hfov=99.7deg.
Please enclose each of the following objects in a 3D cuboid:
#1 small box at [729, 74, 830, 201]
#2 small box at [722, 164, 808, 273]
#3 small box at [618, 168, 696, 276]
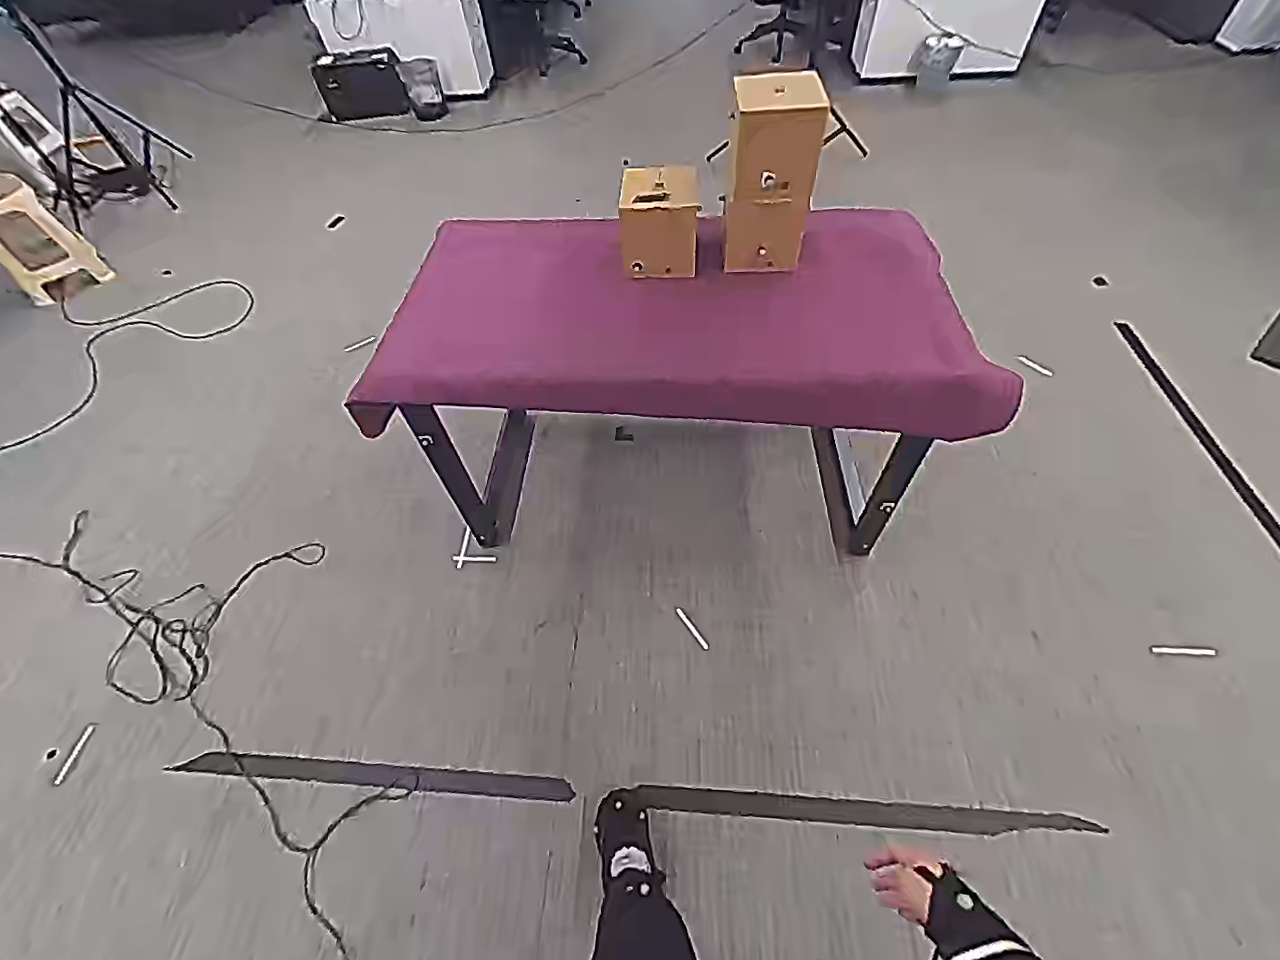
[{"bbox_3d":[0.273,-0.696,1.104,0.168,0.176,0.179,-1,55,4],"label":"small box"},{"bbox_3d":[0.276,-0.597,1.233,0.168,0.176,0.179,1,55,5],"label":"small box"},{"bbox_3d":[0.045,-0.585,1.239,0.168,0.176,0.179,1,54,4],"label":"small box"}]
